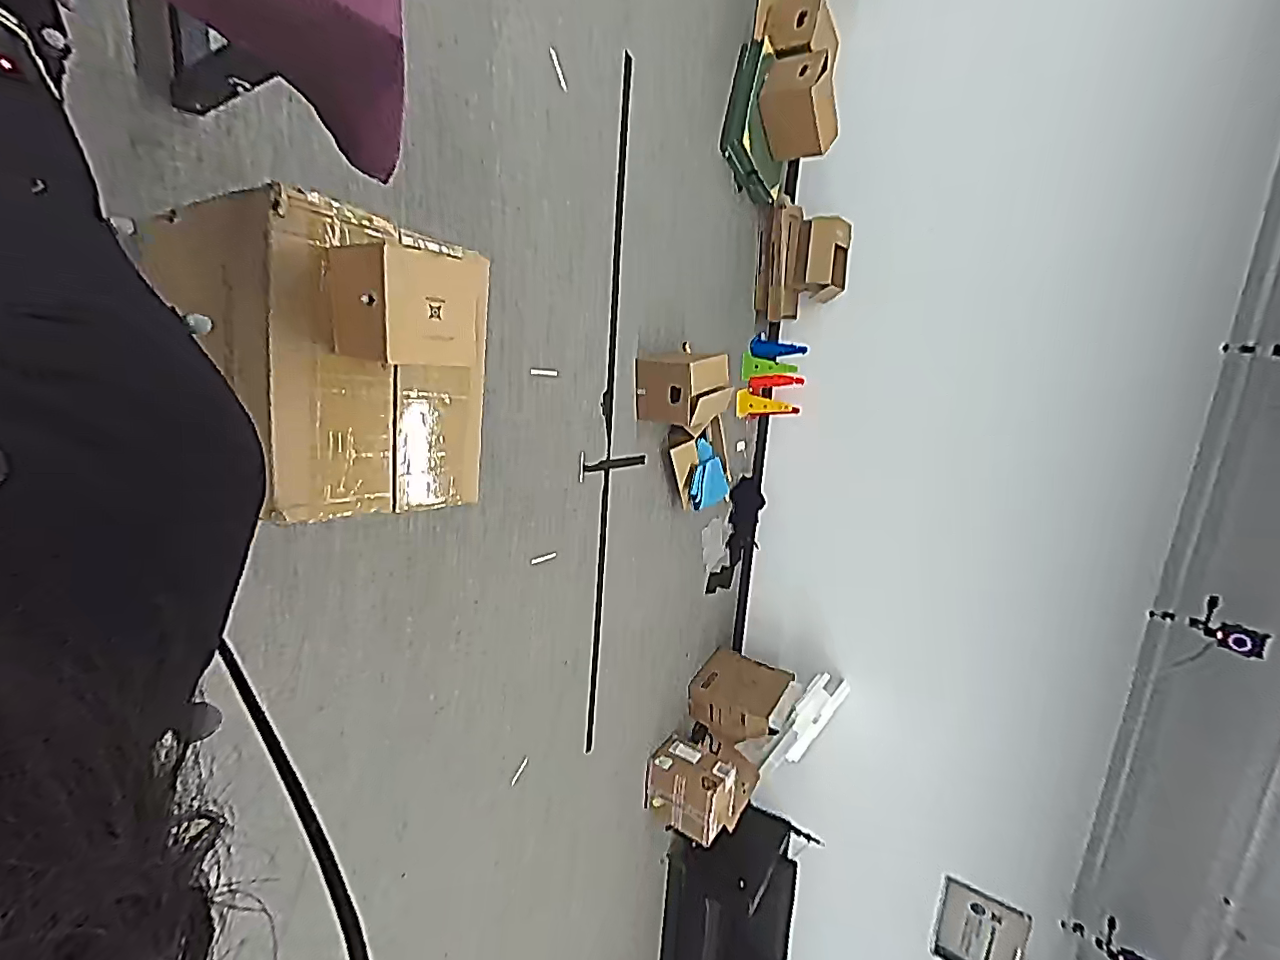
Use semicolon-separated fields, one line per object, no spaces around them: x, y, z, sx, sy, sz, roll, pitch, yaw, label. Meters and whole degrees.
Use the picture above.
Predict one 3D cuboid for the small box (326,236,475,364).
-0.394;-0.289;0.891;0.168;0.176;0.179;-13;113;-53;small box
